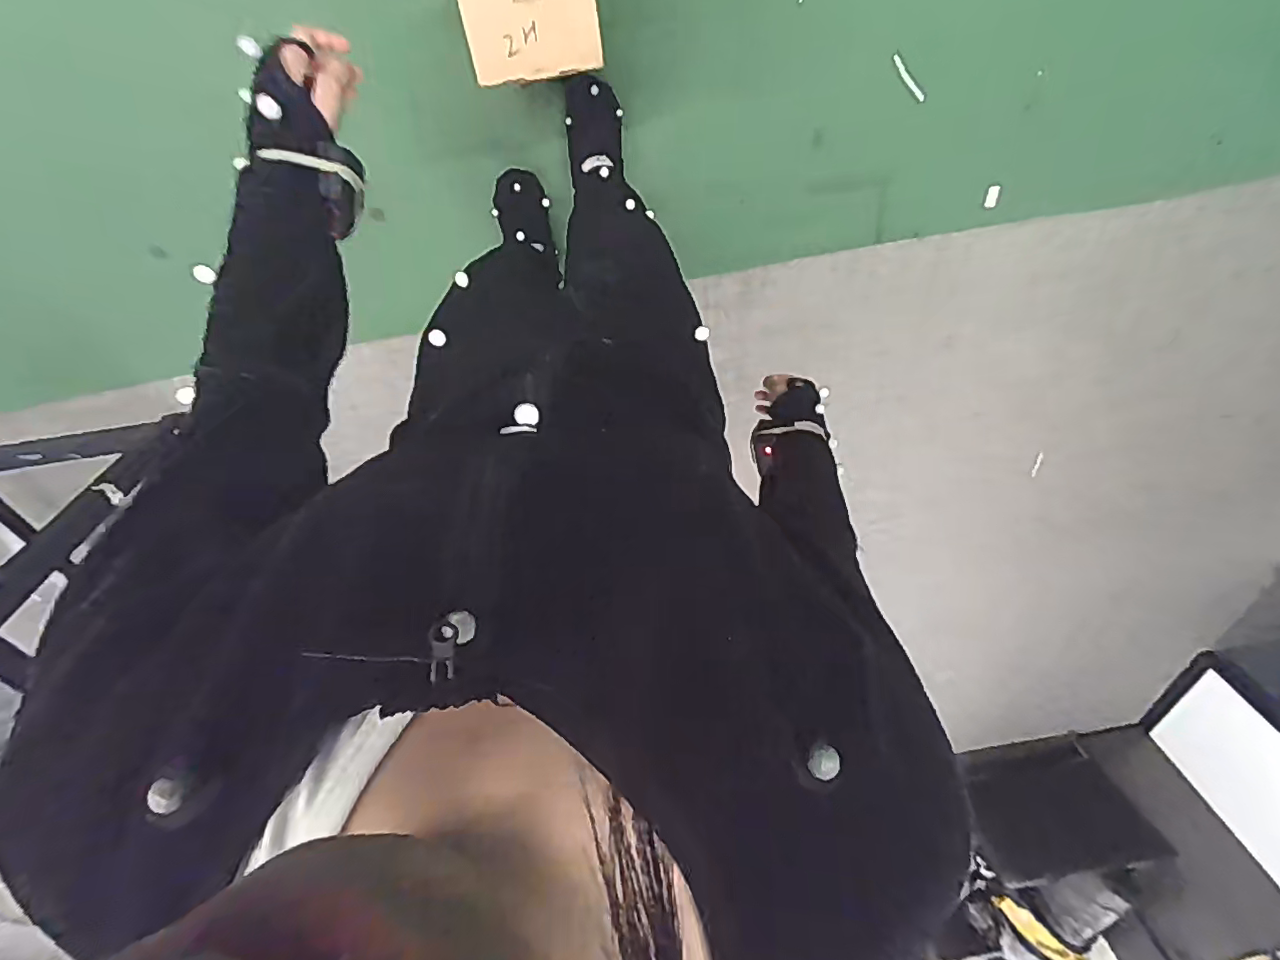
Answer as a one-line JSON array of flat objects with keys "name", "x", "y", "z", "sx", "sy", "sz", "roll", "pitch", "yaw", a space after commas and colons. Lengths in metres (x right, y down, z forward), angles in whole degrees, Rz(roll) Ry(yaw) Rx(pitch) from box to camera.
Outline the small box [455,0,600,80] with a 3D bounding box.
[{"name": "small box", "x": -0.150, "y": -0.631, "z": 0.694, "sx": 0.168, "sy": 0.176, "sz": 0.179, "roll": -10, "pitch": 129, "yaw": -2}]
